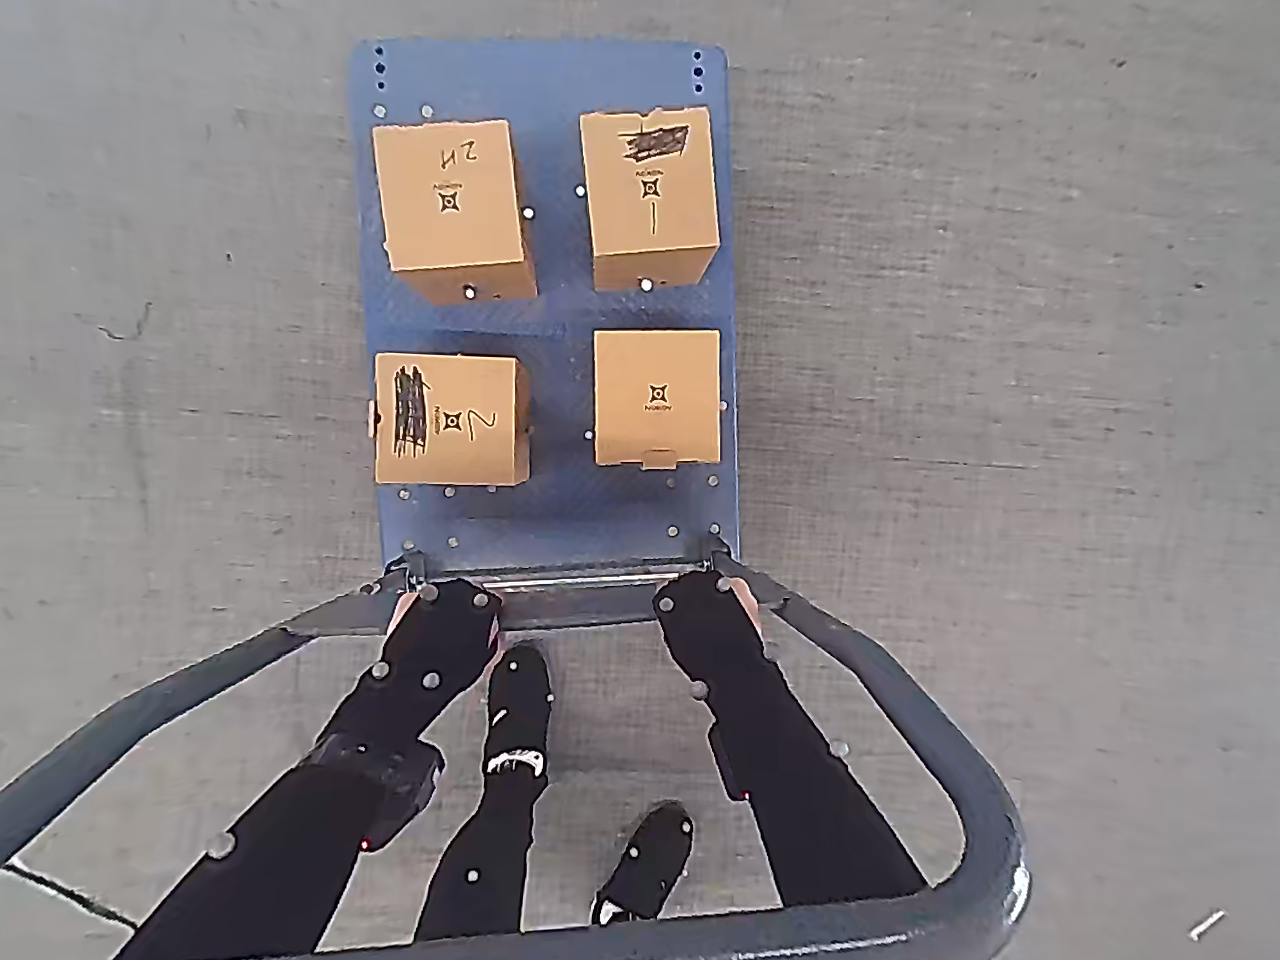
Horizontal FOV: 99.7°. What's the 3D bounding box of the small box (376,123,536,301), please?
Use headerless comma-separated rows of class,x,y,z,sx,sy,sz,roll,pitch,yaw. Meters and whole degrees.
small box,-0.240,-0.354,0.748,0.168,0.176,0.179,-6,94,-5

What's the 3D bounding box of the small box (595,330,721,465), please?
small box,0.018,-0.111,0.783,0.168,0.176,0.179,-1,94,-4

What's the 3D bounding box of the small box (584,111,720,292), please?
small box,0.010,-0.380,0.764,0.168,0.176,0.179,-5,95,-3
